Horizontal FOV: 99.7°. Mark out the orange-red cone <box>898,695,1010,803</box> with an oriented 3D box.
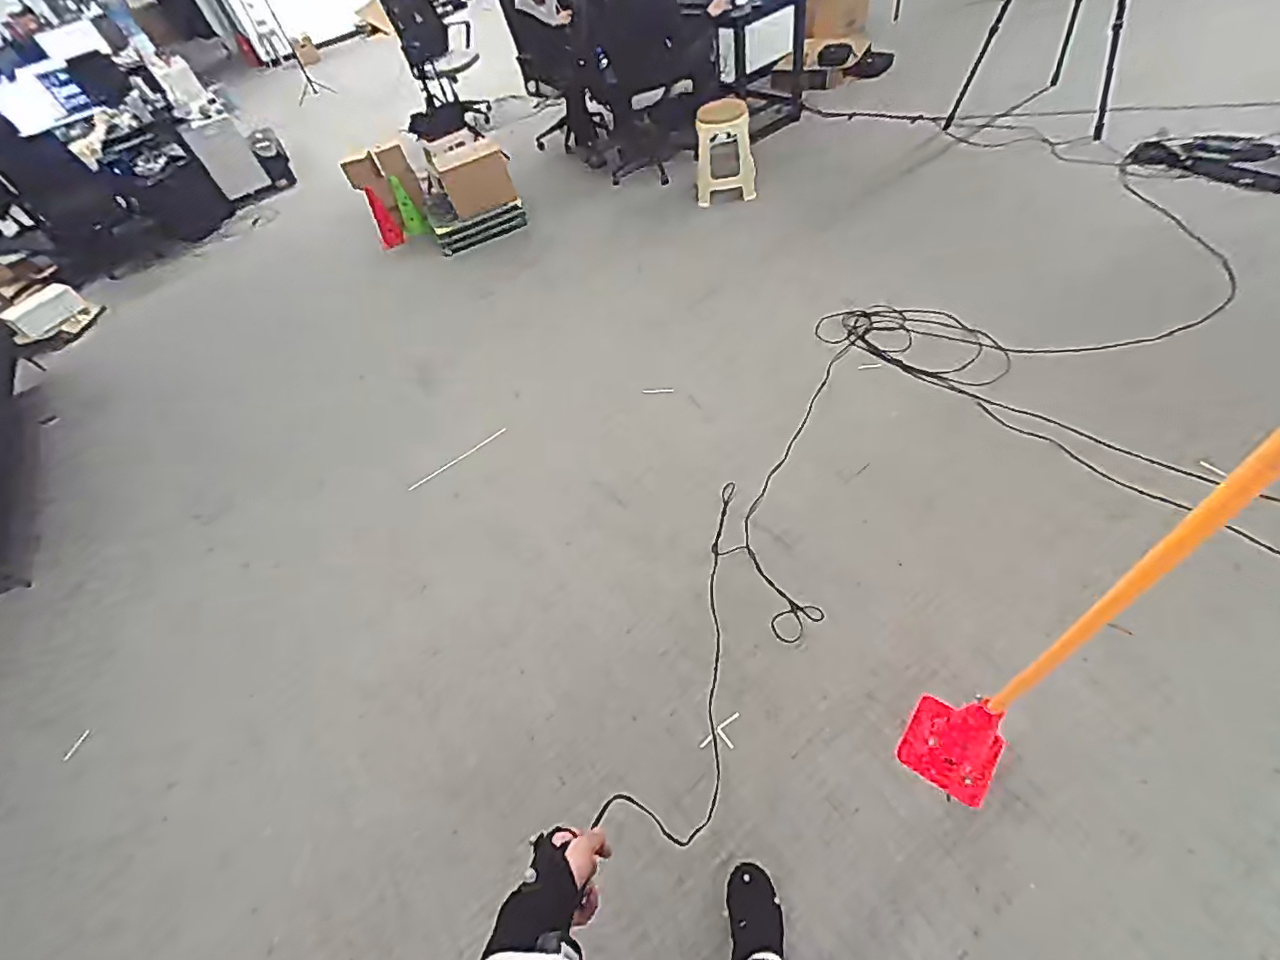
[{"bbox_3d":[0.746,0.557,1.216,0.198,0.360,0.199,29,62,29],"label":"orange-red cone"}]
